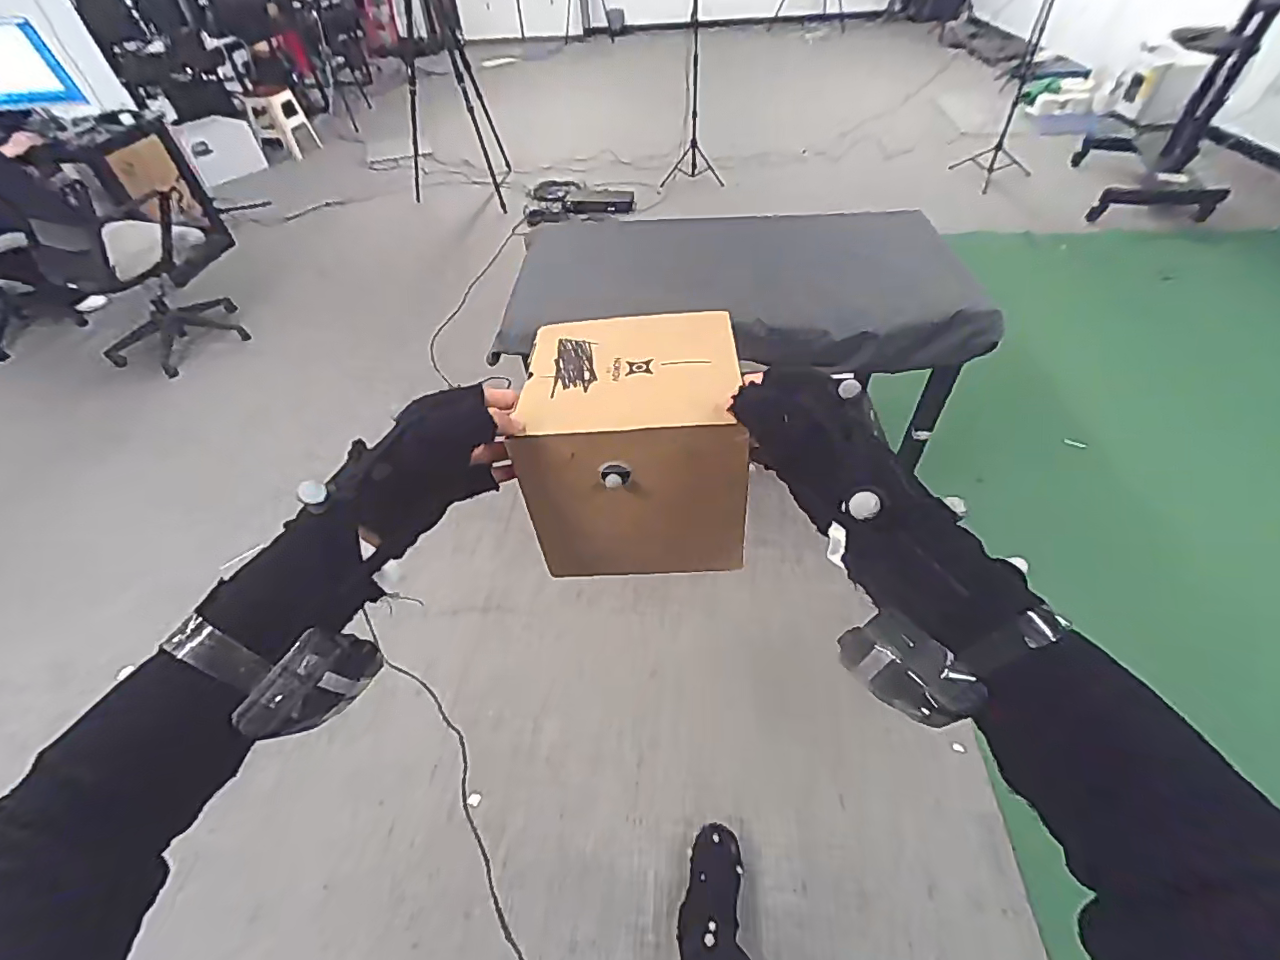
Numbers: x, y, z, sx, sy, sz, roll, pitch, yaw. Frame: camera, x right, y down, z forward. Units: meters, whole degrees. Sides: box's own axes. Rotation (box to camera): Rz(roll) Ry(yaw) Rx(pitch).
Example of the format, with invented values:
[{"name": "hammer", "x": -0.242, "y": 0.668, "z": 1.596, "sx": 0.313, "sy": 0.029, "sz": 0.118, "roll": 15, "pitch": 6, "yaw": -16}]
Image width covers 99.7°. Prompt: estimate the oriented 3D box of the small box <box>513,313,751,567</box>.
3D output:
[{"name": "small box", "x": 0.004, "y": -0.034, "z": 0.496, "sx": 0.179, "sy": 0.176, "sz": 0.168, "roll": -2, "pitch": 44, "yaw": 5}]
